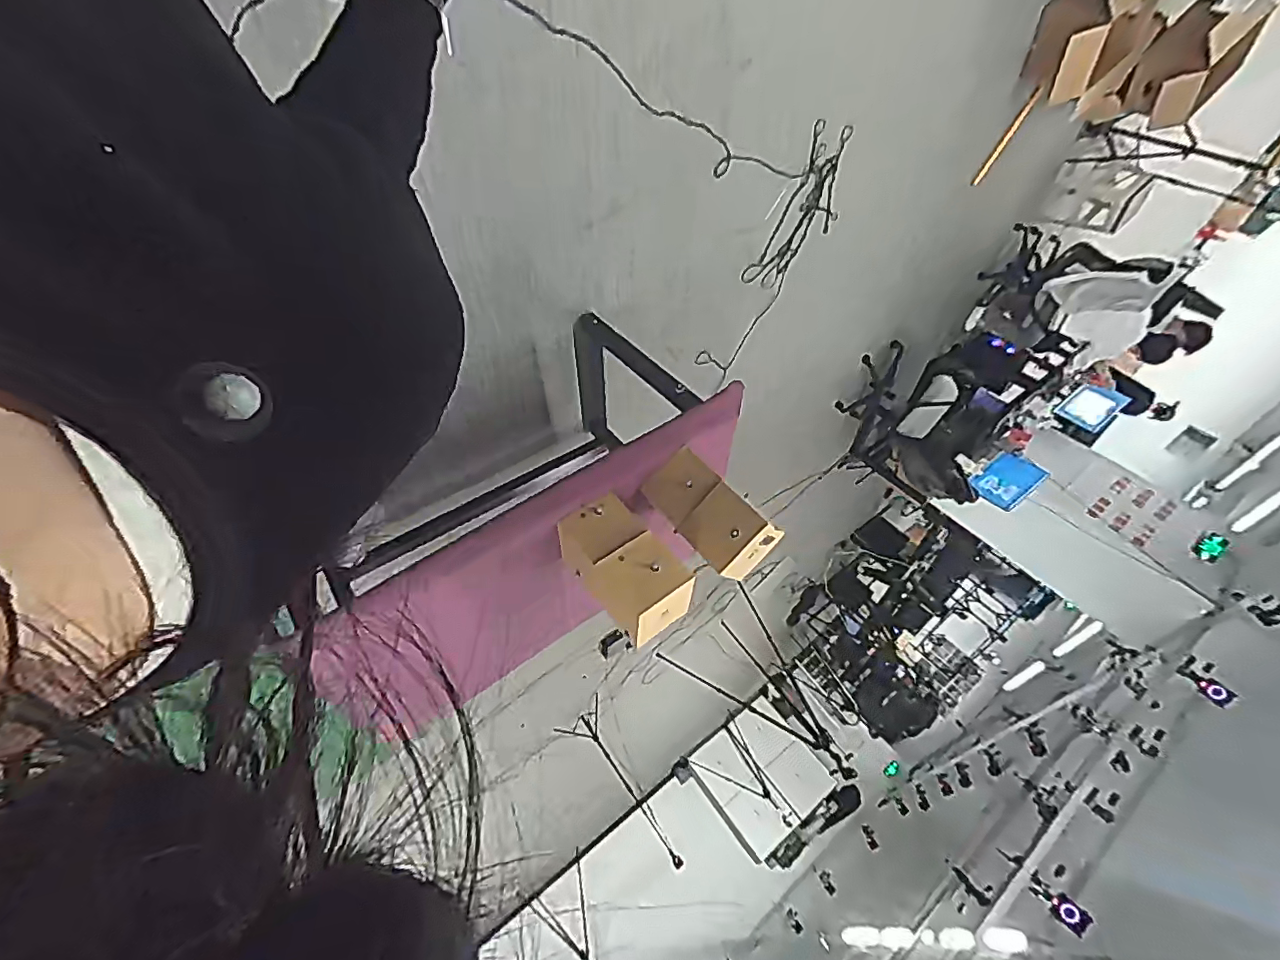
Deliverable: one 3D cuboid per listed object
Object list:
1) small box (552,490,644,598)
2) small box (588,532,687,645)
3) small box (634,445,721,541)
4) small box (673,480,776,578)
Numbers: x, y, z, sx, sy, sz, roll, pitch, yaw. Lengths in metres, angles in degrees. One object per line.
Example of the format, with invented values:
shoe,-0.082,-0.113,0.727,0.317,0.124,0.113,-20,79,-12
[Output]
small box,-0.110,0.158,1.372,0.168,0.176,0.179,-30,147,-26
small box,-0.011,0.247,1.278,0.168,0.176,0.179,-30,149,-25
small box,0.114,0.035,1.489,0.179,0.176,0.168,-43,150,-3
small box,0.216,0.126,1.395,0.179,0.176,0.168,-48,150,8
